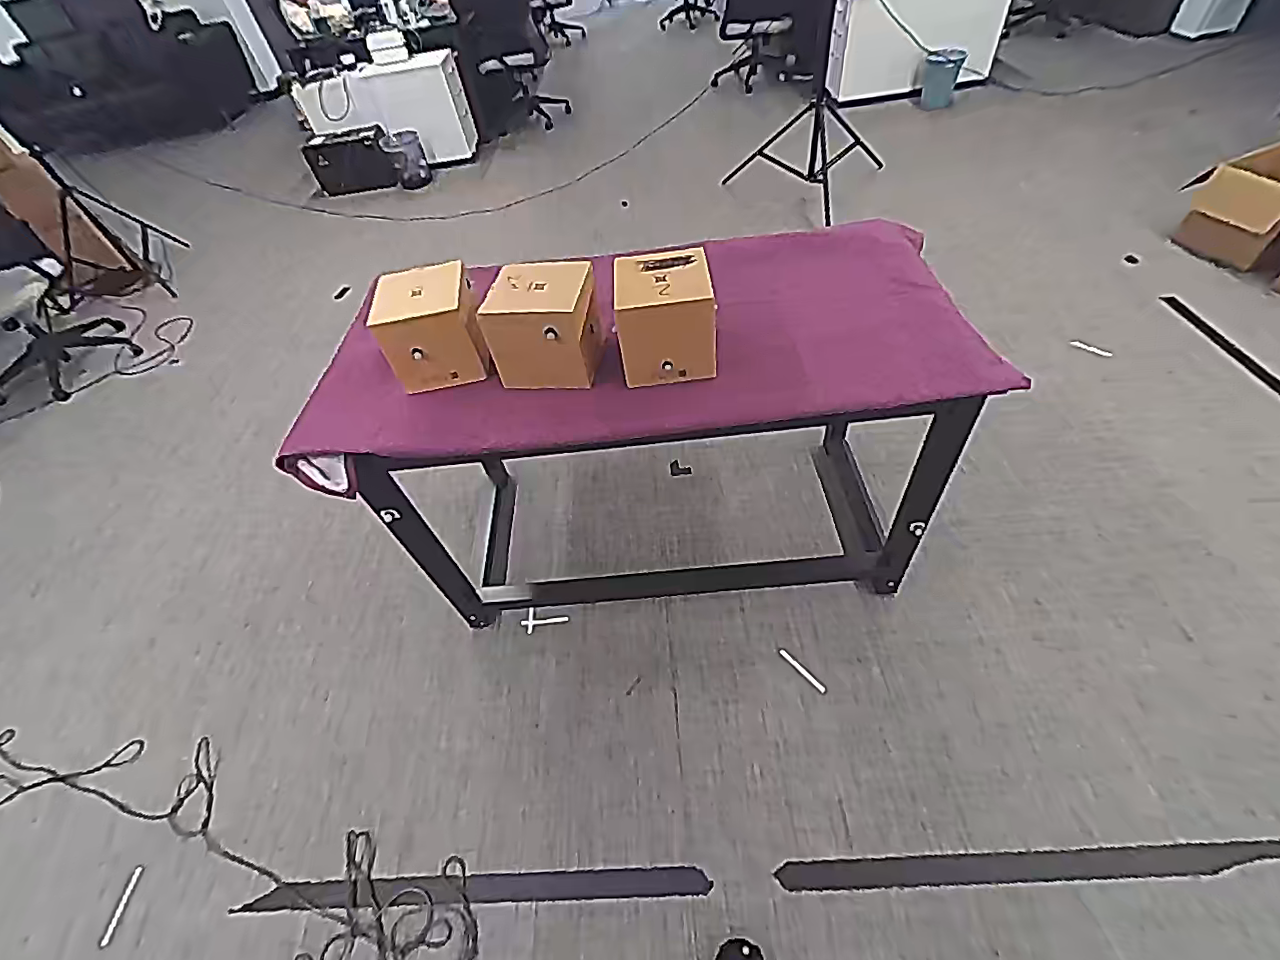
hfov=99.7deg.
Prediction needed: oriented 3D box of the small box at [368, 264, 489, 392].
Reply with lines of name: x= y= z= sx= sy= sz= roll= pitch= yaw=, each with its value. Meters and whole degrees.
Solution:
small box: x=-0.406 y=-0.293 z=1.069 sx=0.168 sy=0.176 sz=0.179 roll=-12 pitch=50 yaw=-1
